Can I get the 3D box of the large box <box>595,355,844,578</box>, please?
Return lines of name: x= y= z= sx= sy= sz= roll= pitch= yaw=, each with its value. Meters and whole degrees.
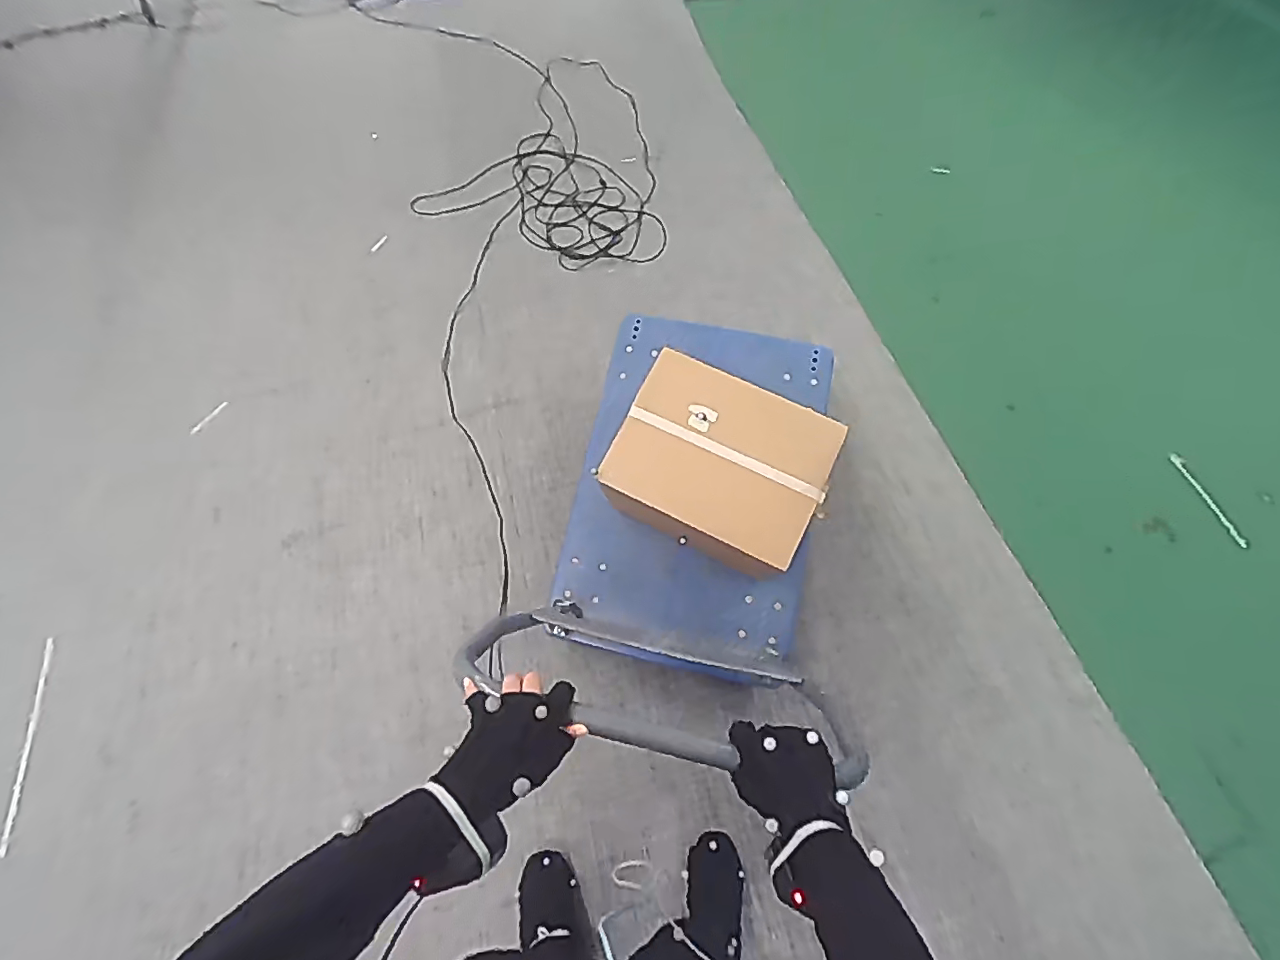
large box: x=0.167 y=-0.009 z=1.193 sx=0.408 sy=0.320 sz=0.320 roll=26 pitch=79 yaw=10
